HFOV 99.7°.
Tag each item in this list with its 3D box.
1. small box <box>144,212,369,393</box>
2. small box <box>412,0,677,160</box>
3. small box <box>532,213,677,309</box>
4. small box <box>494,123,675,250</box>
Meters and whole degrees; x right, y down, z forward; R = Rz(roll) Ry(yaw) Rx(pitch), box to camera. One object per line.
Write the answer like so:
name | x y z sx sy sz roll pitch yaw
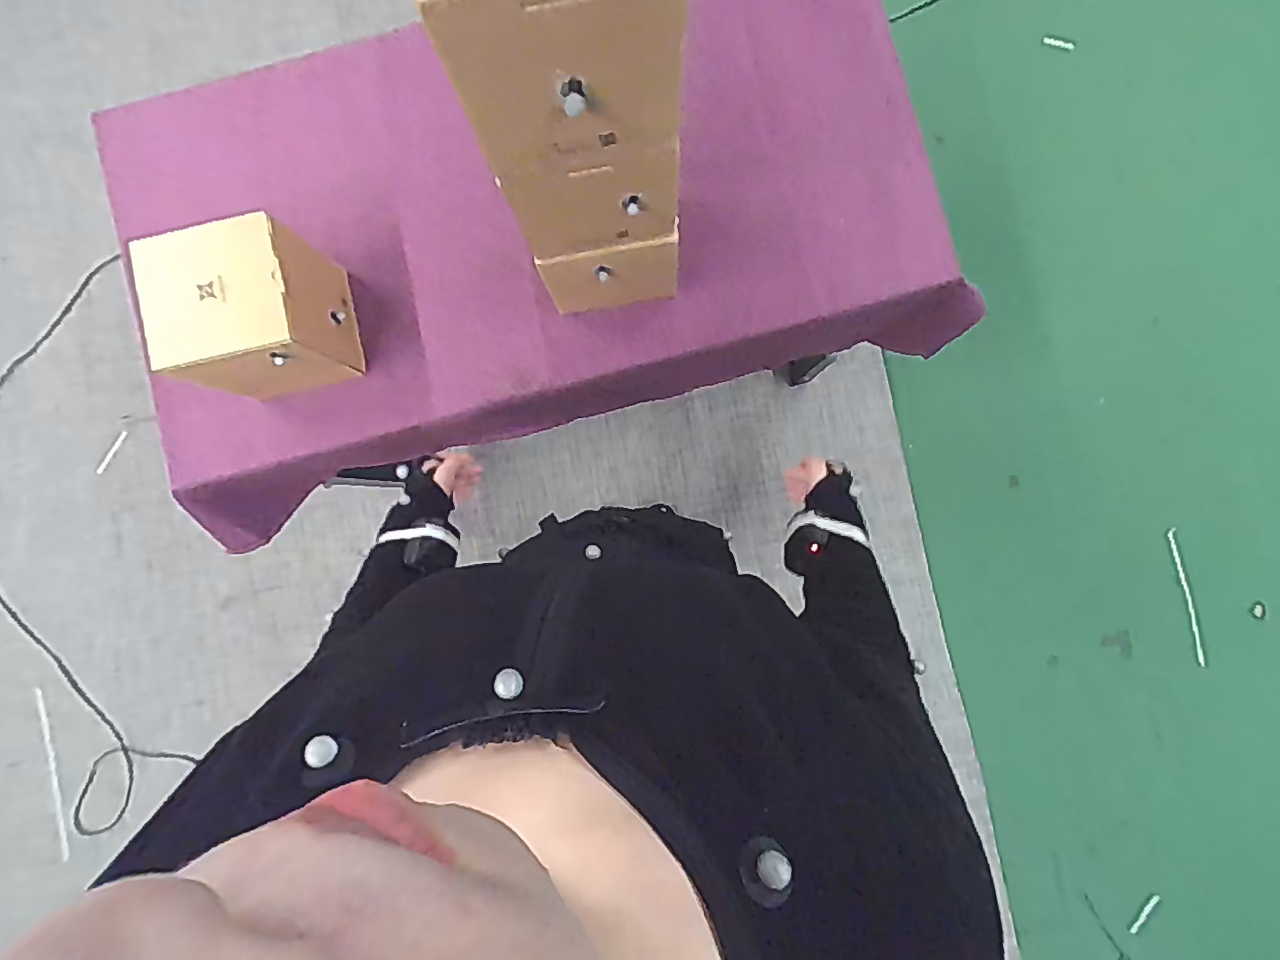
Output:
small box | -0.510 -0.228 0.740 0.179 0.176 0.168 -13 87 1
small box | -0.064 -0.368 0.398 0.168 0.176 0.179 -10 88 1
small box | -0.046 -0.344 0.724 0.179 0.176 0.168 -8 88 2
small box | -0.054 -0.361 0.562 0.168 0.176 0.179 -9 86 2
